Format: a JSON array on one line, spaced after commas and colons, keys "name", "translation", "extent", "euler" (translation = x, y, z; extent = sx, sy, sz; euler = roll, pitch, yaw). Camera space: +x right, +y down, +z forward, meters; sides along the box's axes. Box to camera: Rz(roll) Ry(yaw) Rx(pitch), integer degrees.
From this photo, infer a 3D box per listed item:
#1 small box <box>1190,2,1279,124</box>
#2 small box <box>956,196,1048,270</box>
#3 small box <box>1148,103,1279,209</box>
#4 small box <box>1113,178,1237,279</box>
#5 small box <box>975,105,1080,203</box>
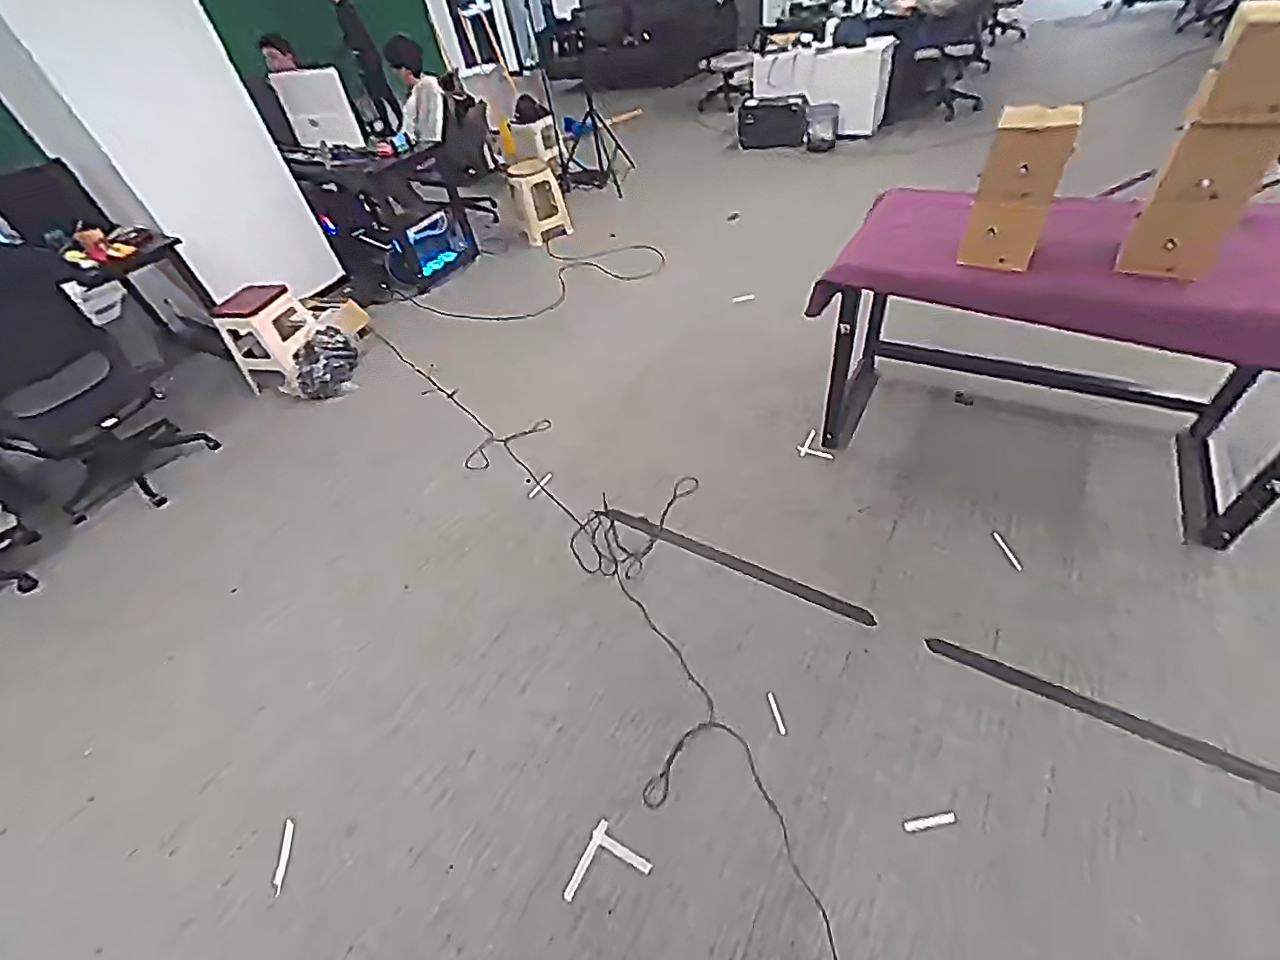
[{"name": "small box", "translation": [1.241, -0.822, 1.068], "extent": [0.168, 0.176, 0.179], "euler": [19, 52, 26]}, {"name": "small box", "translation": [0.969, -0.682, 1.446], "extent": [0.168, 0.176, 0.179], "euler": [20, 52, 27]}, {"name": "small box", "translation": [1.273, -0.725, 1.197], "extent": [0.168, 0.176, 0.179], "euler": [21, 54, 28]}, {"name": "small box", "translation": [1.291, -0.611, 1.313], "extent": [0.168, 0.176, 0.179], "euler": [22, 54, 28]}, {"name": "small box", "translation": [0.949, -0.801, 1.334], "extent": [0.168, 0.176, 0.179], "euler": [18, 52, 25]}]
